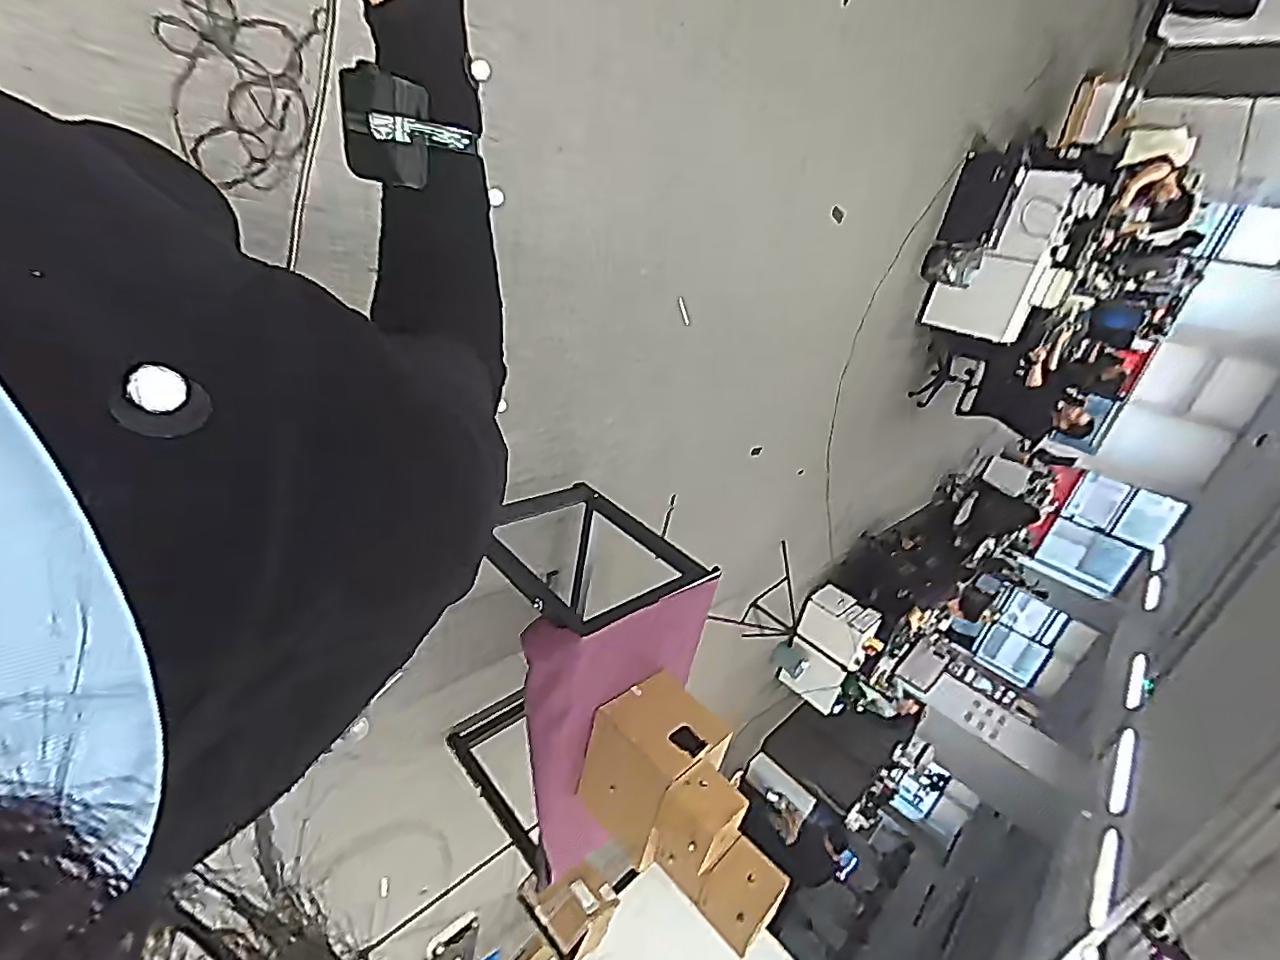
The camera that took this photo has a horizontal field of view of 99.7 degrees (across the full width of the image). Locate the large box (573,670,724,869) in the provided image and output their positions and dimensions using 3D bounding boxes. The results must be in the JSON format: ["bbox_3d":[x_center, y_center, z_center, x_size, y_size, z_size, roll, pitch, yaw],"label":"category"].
[{"bbox_3d":[0.016,0.905,1.730,0.320,0.320,0.408,-14,124,-46],"label":"large box"}]

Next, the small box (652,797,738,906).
[{"bbox_3d":[0.164,1.109,1.631,0.179,0.176,0.168,-13,123,-45],"label":"small box"}]
